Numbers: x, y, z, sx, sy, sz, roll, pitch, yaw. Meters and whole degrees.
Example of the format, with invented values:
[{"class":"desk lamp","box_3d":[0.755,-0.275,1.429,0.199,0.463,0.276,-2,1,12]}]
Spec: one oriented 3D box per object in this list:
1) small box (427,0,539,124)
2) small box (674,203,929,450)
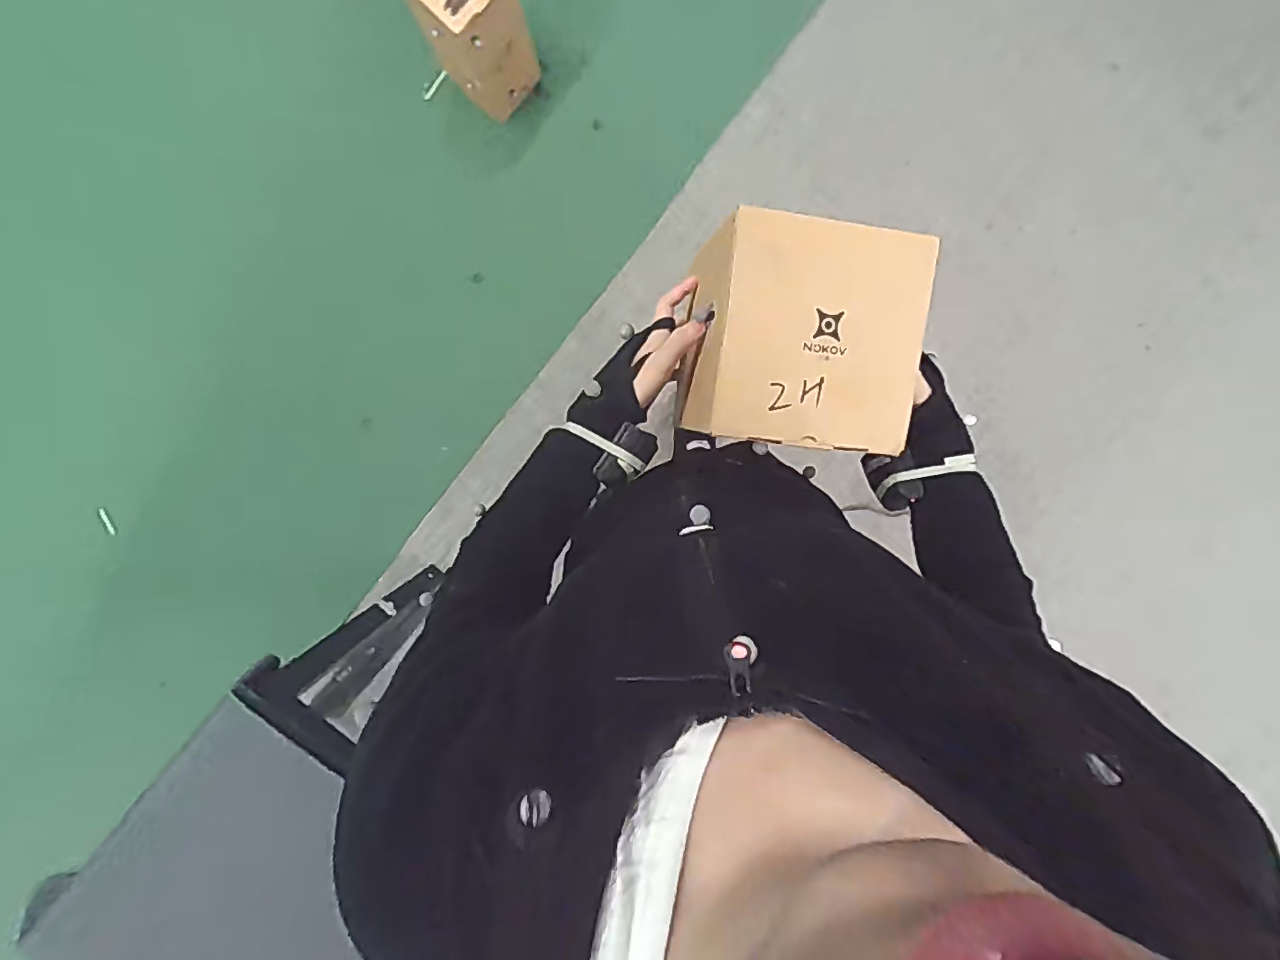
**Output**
[{"class":"small box","box_3d":[-0.370,-1.018,1.307,0.179,0.176,0.168,42,95,-4]},{"class":"small box","box_3d":[0.132,-0.128,0.506,0.168,0.176,0.179,5,98,-7]}]
